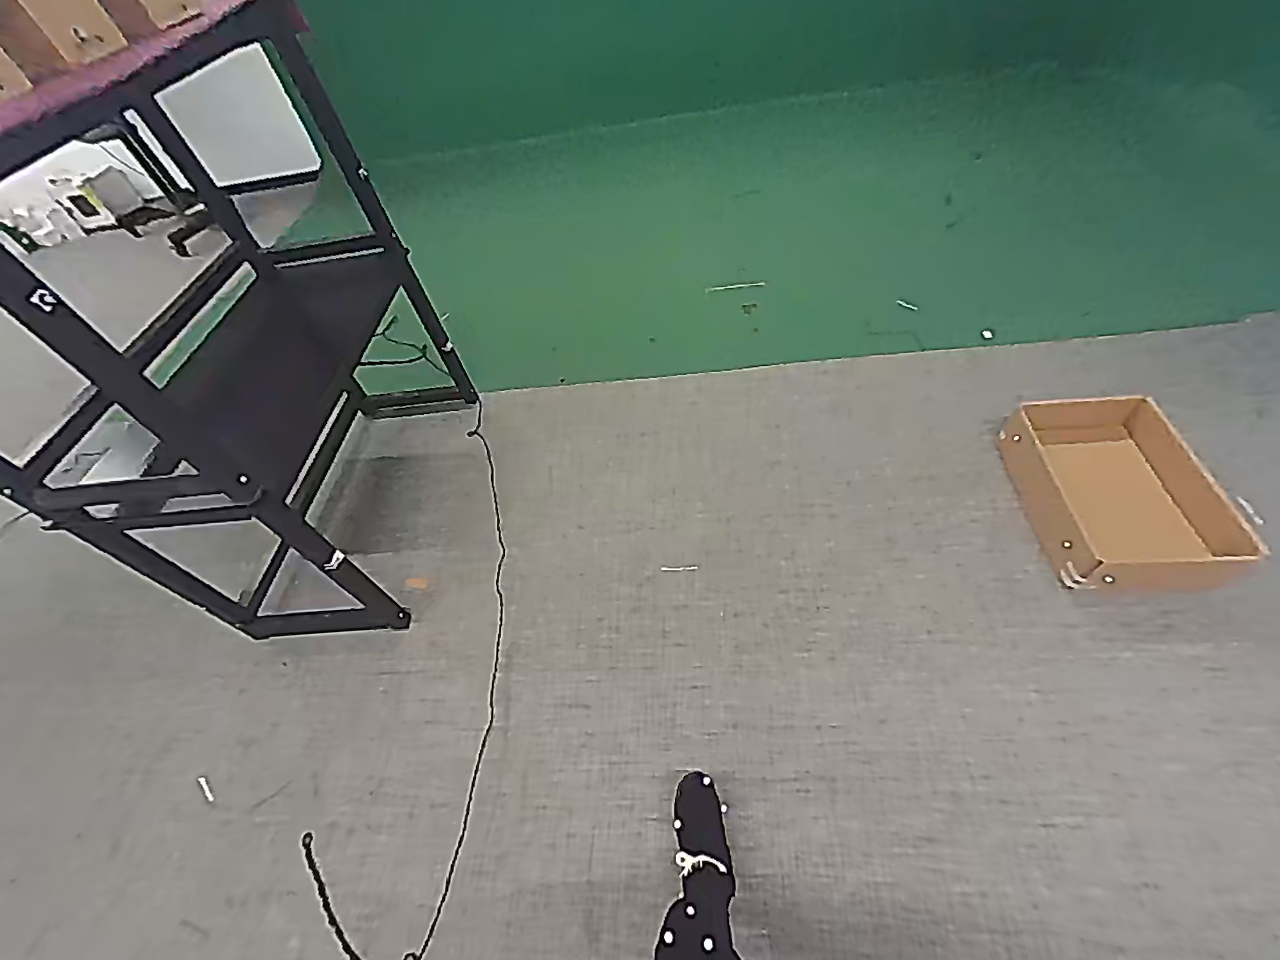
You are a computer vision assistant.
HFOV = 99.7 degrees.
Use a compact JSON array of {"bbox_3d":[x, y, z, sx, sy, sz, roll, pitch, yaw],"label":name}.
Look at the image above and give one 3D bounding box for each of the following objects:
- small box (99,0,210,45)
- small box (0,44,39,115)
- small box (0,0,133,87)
[{"bbox_3d":[-1.138,-1.105,1.210,0.179,0.176,0.168,1,53,14],"label":"small box"},{"bbox_3d":[-1.136,-0.653,0.839,0.179,0.176,0.168,-5,50,7],"label":"small box"},{"bbox_3d":[-1.150,-0.875,1.027,0.179,0.176,0.168,-3,52,9],"label":"small box"}]
